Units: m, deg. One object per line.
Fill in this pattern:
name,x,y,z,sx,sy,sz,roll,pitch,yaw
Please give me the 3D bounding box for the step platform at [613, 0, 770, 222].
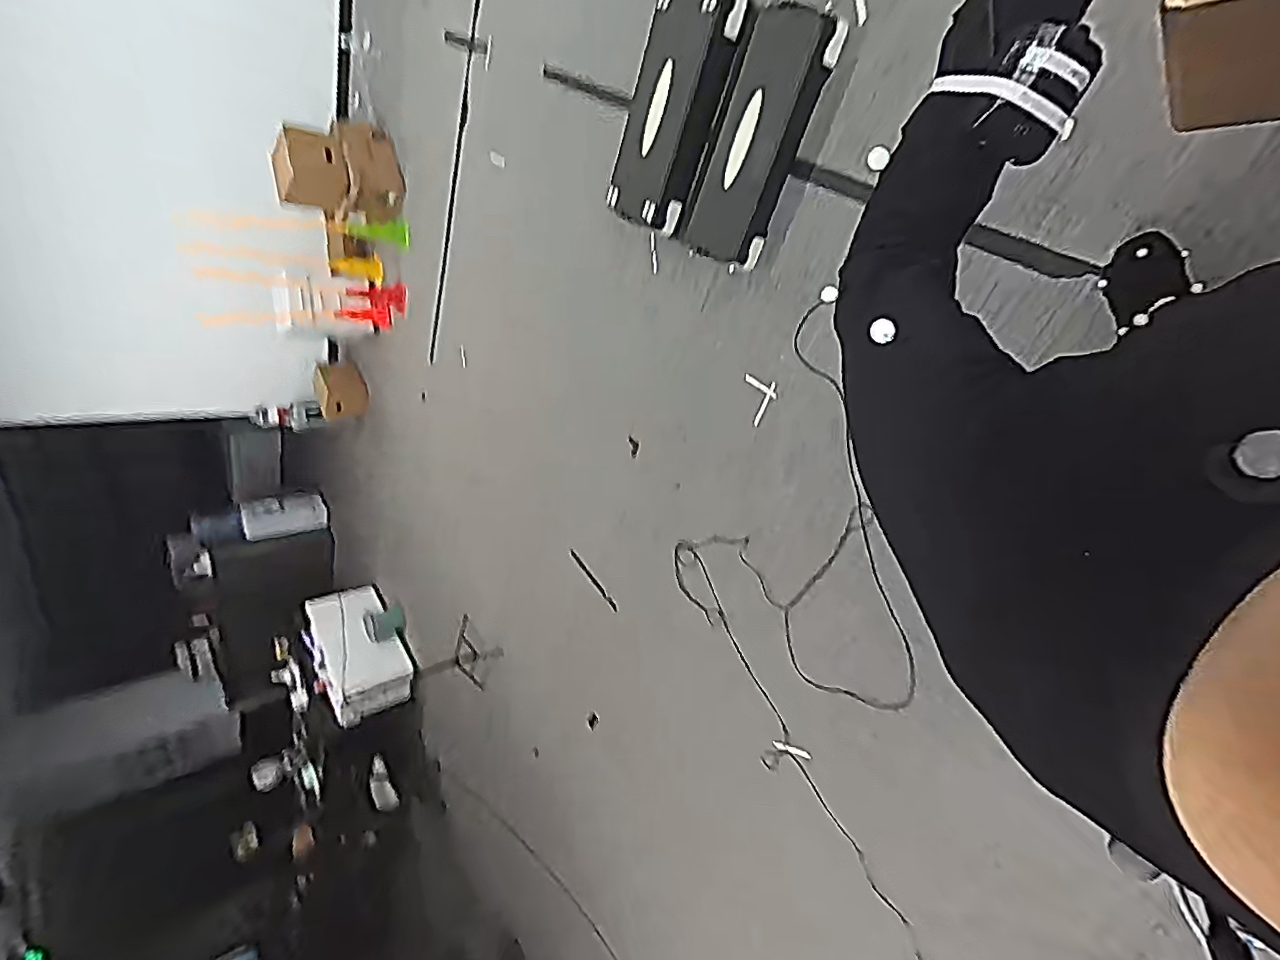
step platform,0.141,-1.223,1.734,0.286,0.204,0.684,42,125,34
